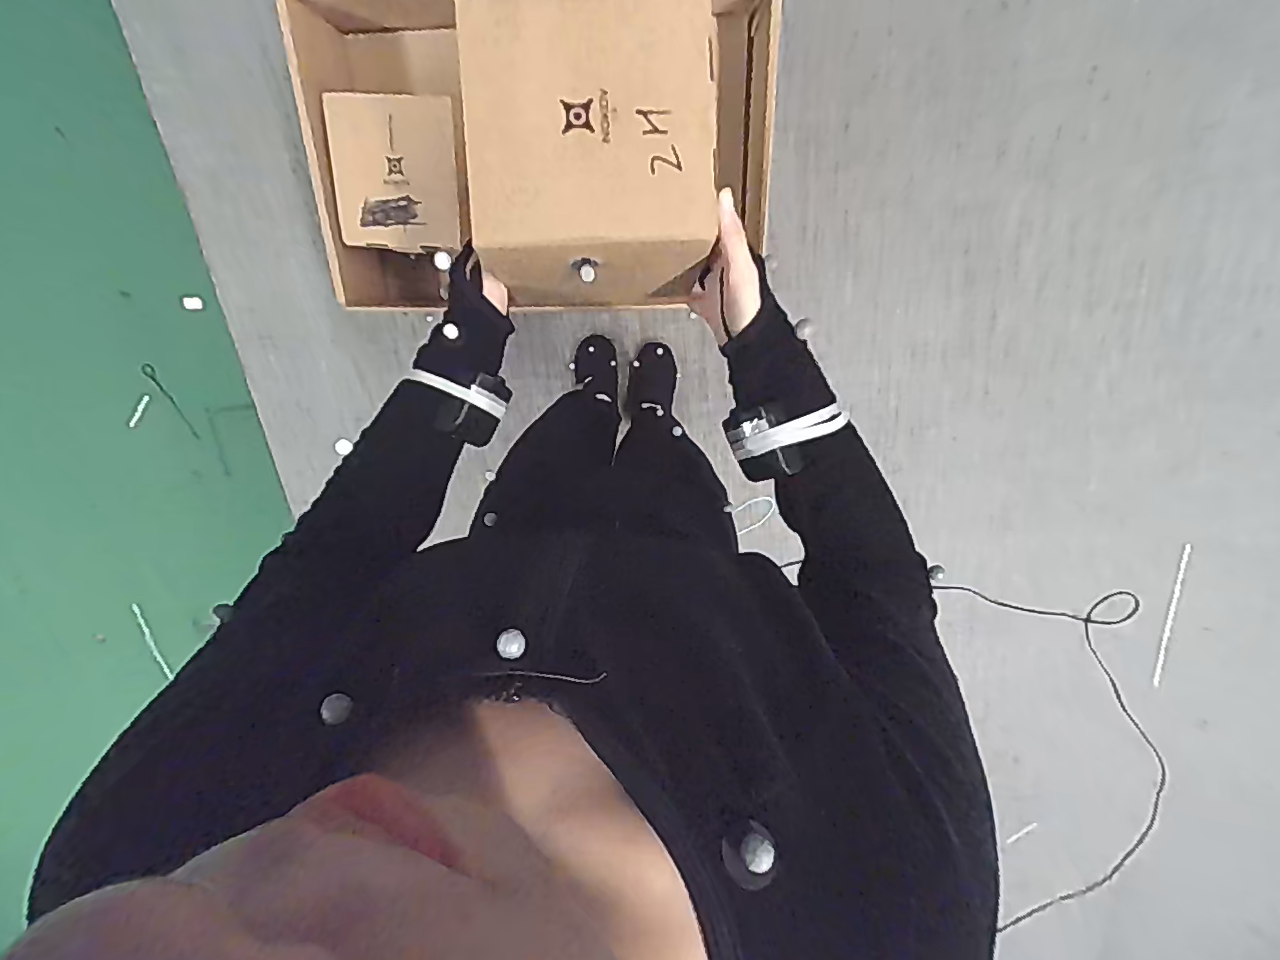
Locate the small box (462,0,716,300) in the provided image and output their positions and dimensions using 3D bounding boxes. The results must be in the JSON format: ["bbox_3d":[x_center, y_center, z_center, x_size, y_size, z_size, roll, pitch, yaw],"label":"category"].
[{"bbox_3d":[-0.036,-0.256,0.457,0.179,0.176,0.168,-2,95,-2],"label":"small box"}]
